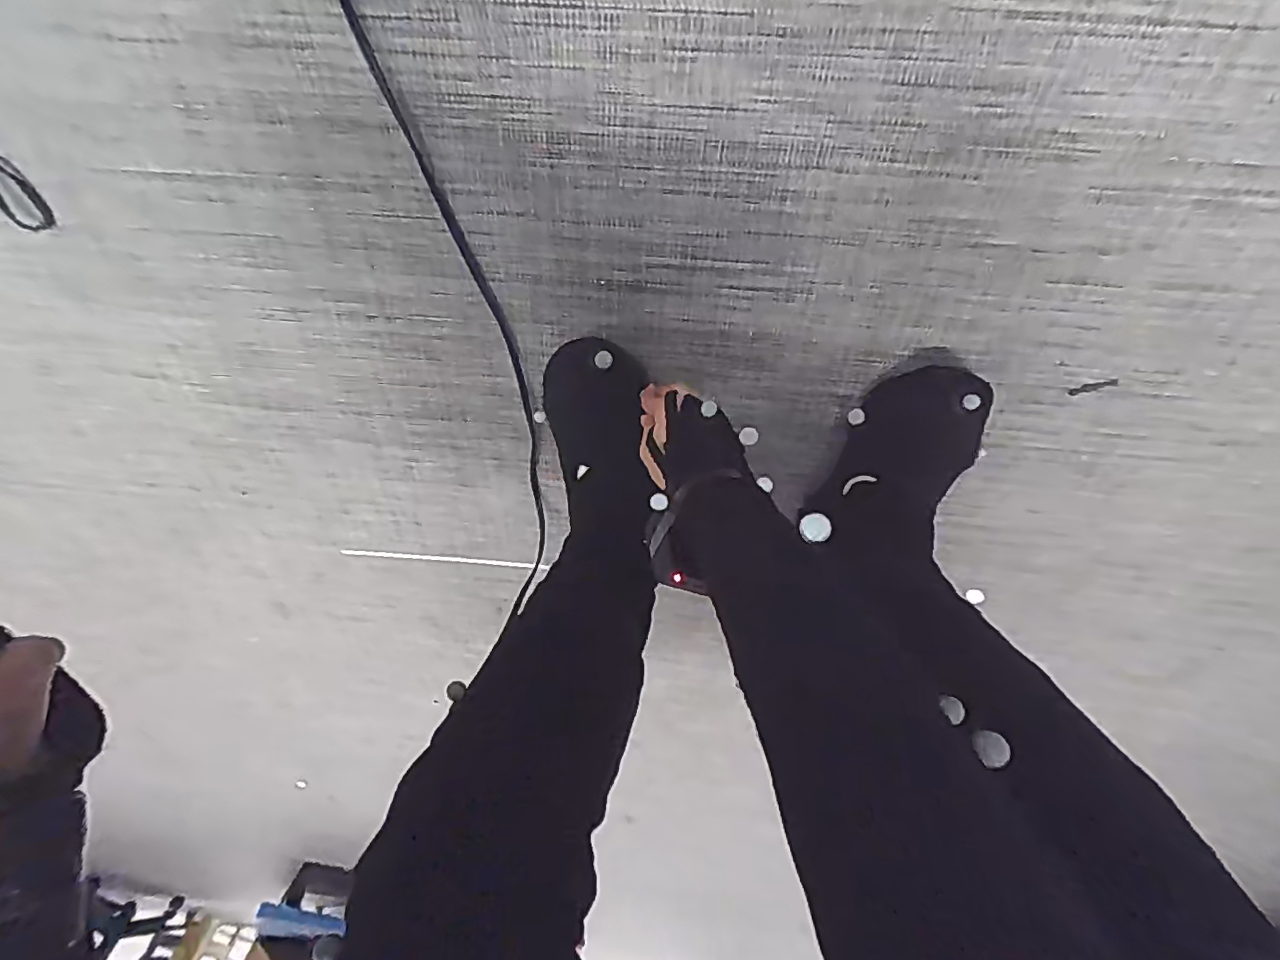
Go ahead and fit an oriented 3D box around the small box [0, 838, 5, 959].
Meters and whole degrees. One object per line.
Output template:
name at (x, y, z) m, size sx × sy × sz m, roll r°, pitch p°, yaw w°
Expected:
small box at (-0.247, 0.134, 0.083) m, size 0.176 × 0.168 × 0.179 m, roll -1°, pitch 170°, yaw -36°
